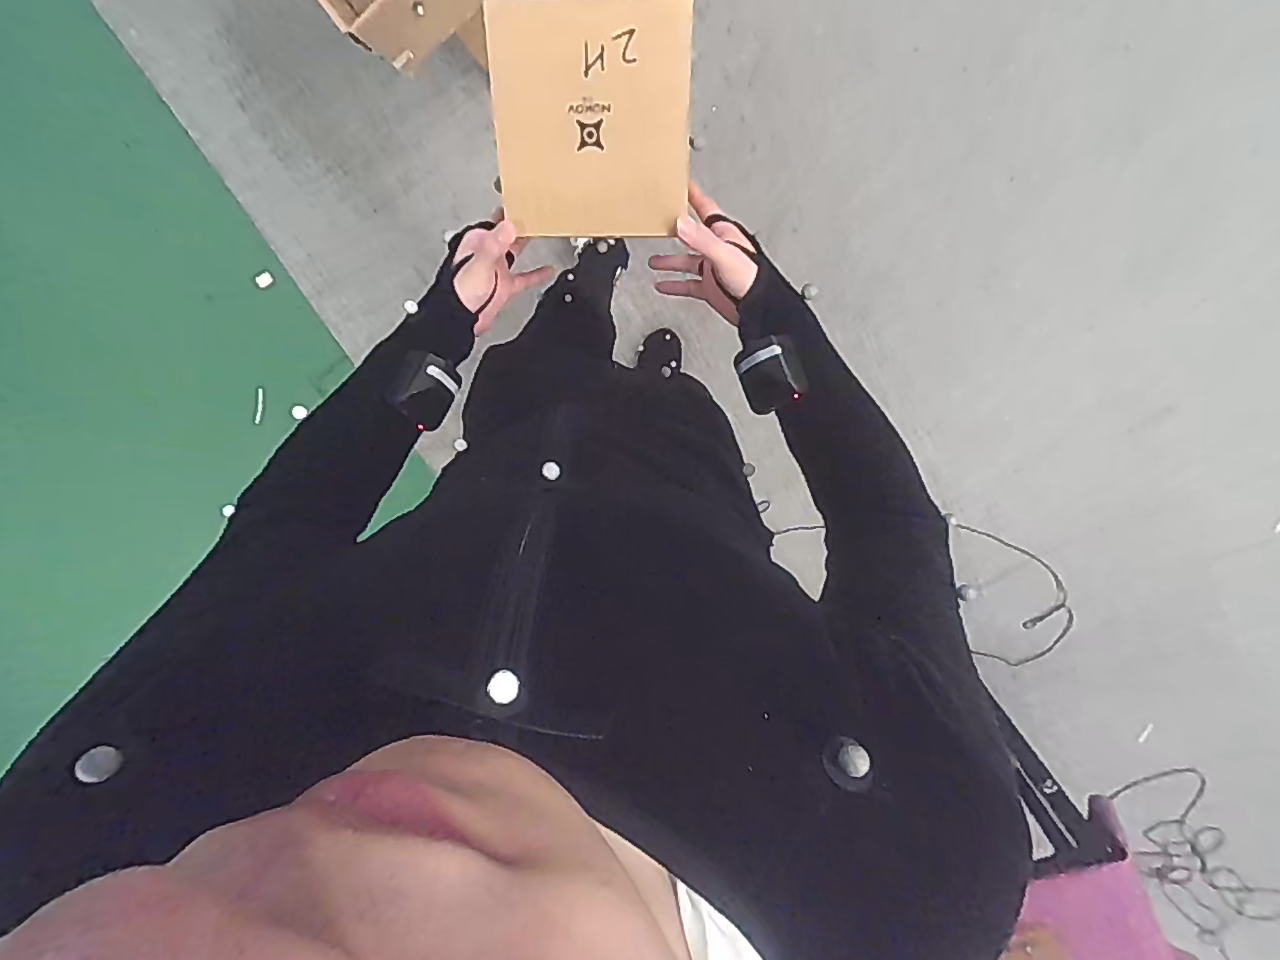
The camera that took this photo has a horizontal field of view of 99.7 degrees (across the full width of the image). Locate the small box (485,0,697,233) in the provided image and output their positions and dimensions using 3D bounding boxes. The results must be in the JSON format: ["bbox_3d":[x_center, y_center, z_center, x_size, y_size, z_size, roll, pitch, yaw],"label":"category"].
[{"bbox_3d":[-0.034,-0.333,0.512,0.168,0.176,0.179,2,114,3],"label":"small box"}]

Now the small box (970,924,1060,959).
[{"bbox_3d":[0.889,1.157,1.220,0.168,0.176,0.179,-28,108,12],"label":"small box"}]
